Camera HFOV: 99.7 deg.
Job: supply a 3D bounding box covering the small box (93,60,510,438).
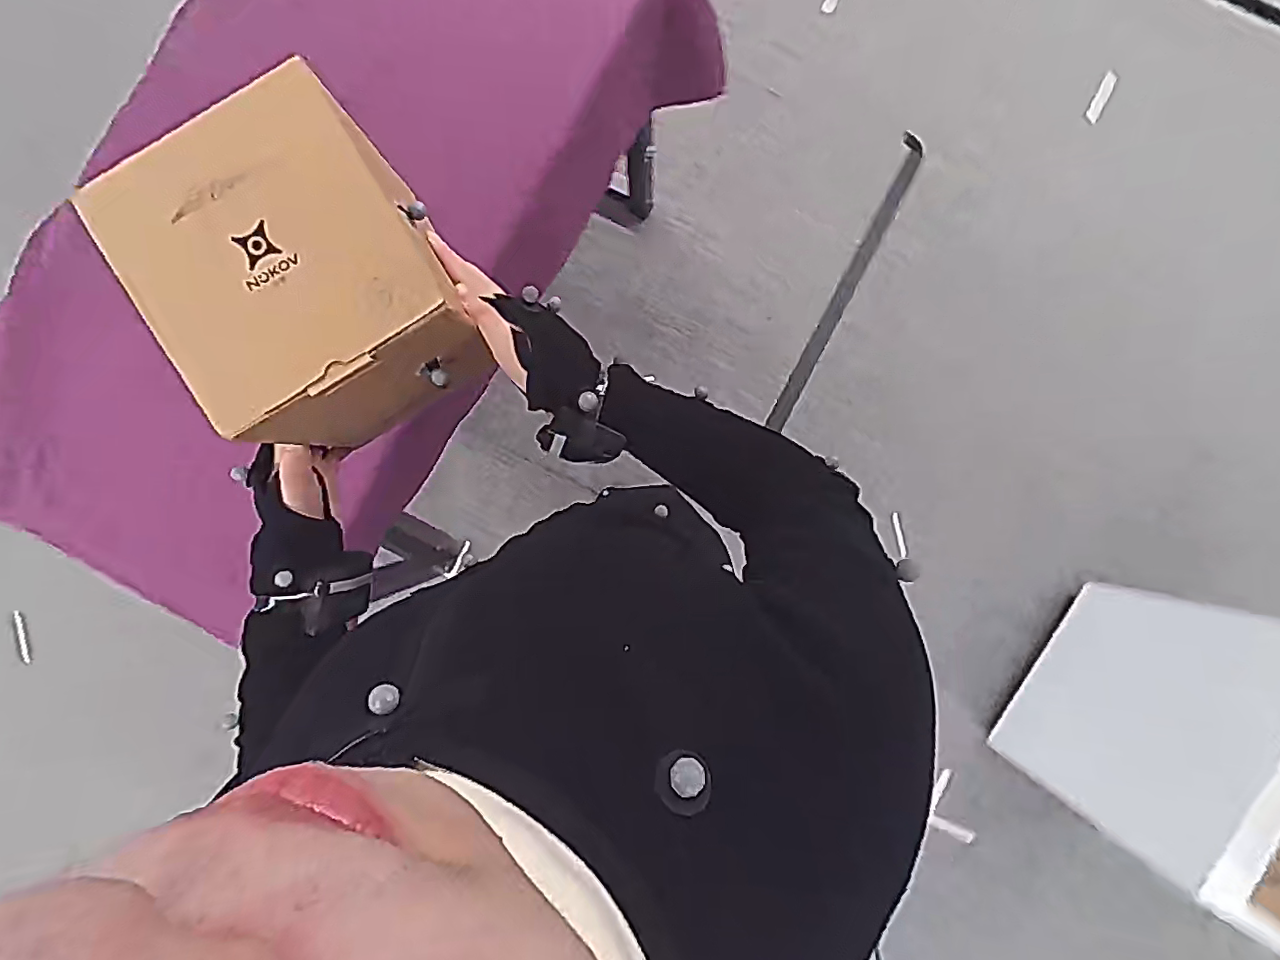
[{"bbox_3d":[-0.222,-0.145,0.410,0.168,0.176,0.179,-29,92,1],"label":"small box"}]
